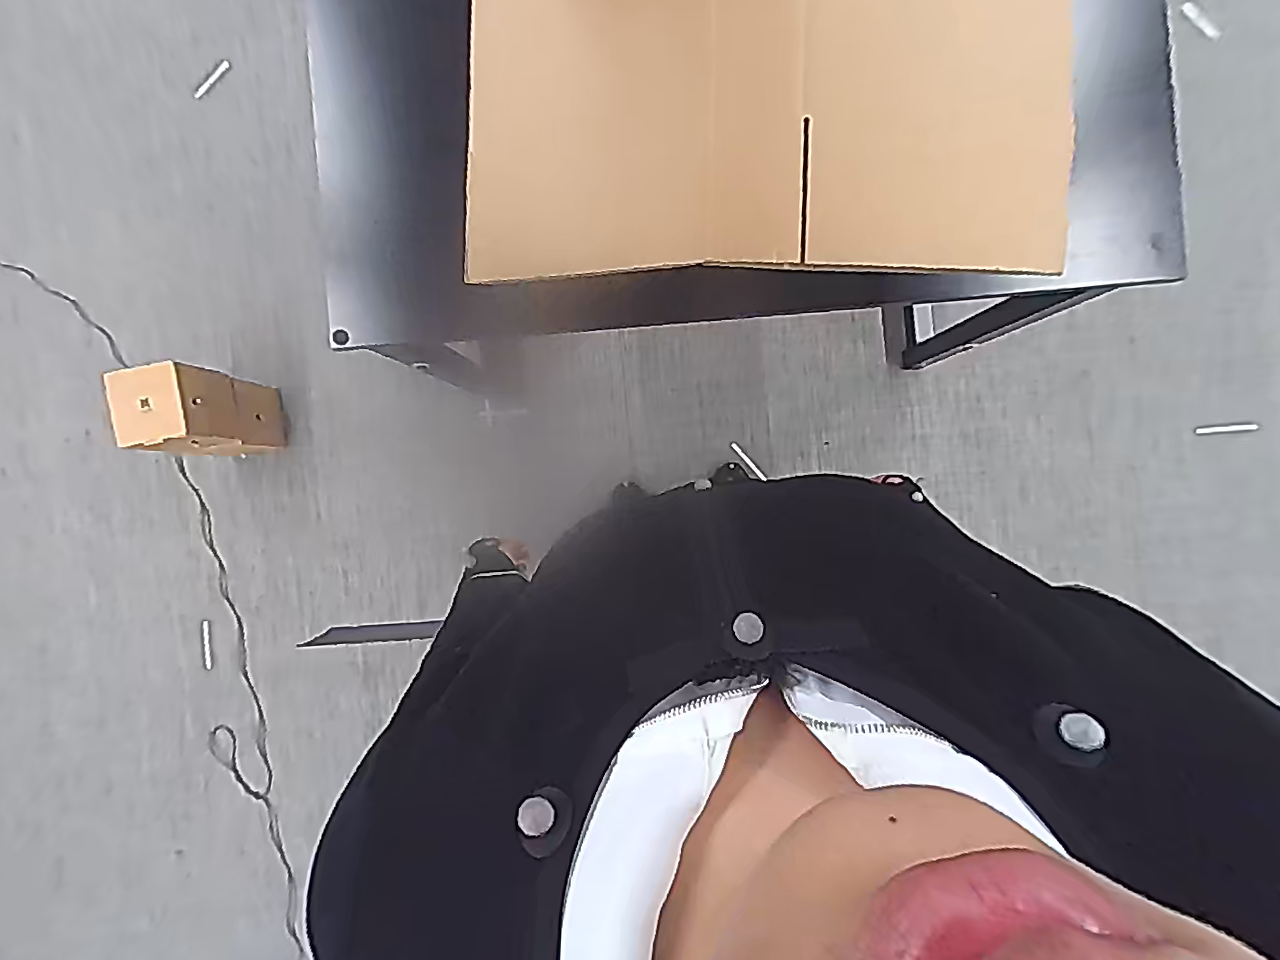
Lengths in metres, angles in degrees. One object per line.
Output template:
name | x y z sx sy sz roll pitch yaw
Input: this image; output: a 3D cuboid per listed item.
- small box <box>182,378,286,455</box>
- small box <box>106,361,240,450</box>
small box | -1.096 -0.165 1.456 0.168 0.176 0.179 -8 91 2
small box | -1.104 -0.169 1.294 0.168 0.176 0.179 -11 89 1
